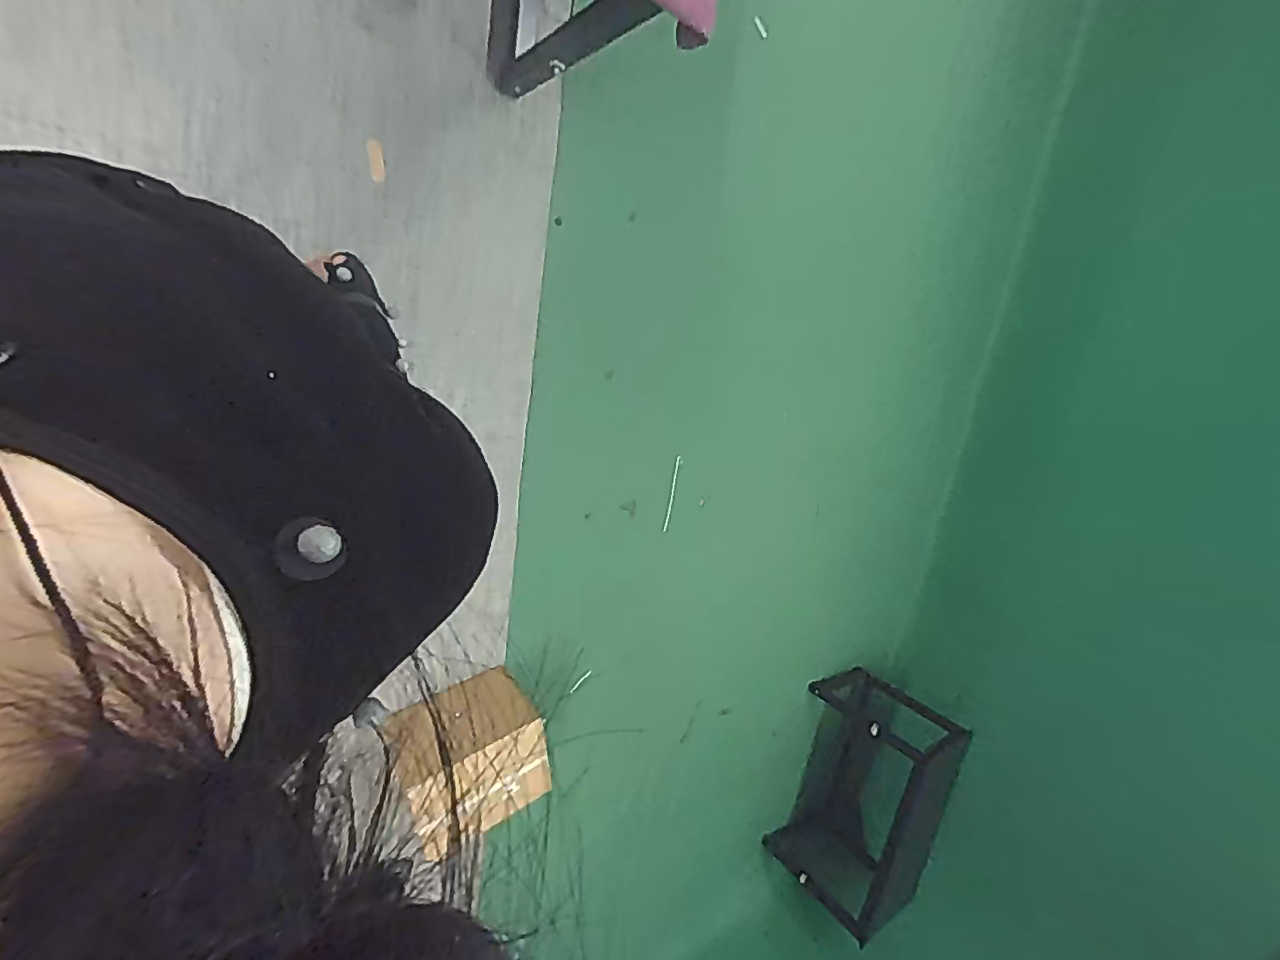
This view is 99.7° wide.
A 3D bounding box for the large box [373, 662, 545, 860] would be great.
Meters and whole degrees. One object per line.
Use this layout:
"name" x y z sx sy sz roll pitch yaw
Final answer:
"large box" -0.565 0.857 1.708 0.408 0.320 0.320 -19 118 -35
